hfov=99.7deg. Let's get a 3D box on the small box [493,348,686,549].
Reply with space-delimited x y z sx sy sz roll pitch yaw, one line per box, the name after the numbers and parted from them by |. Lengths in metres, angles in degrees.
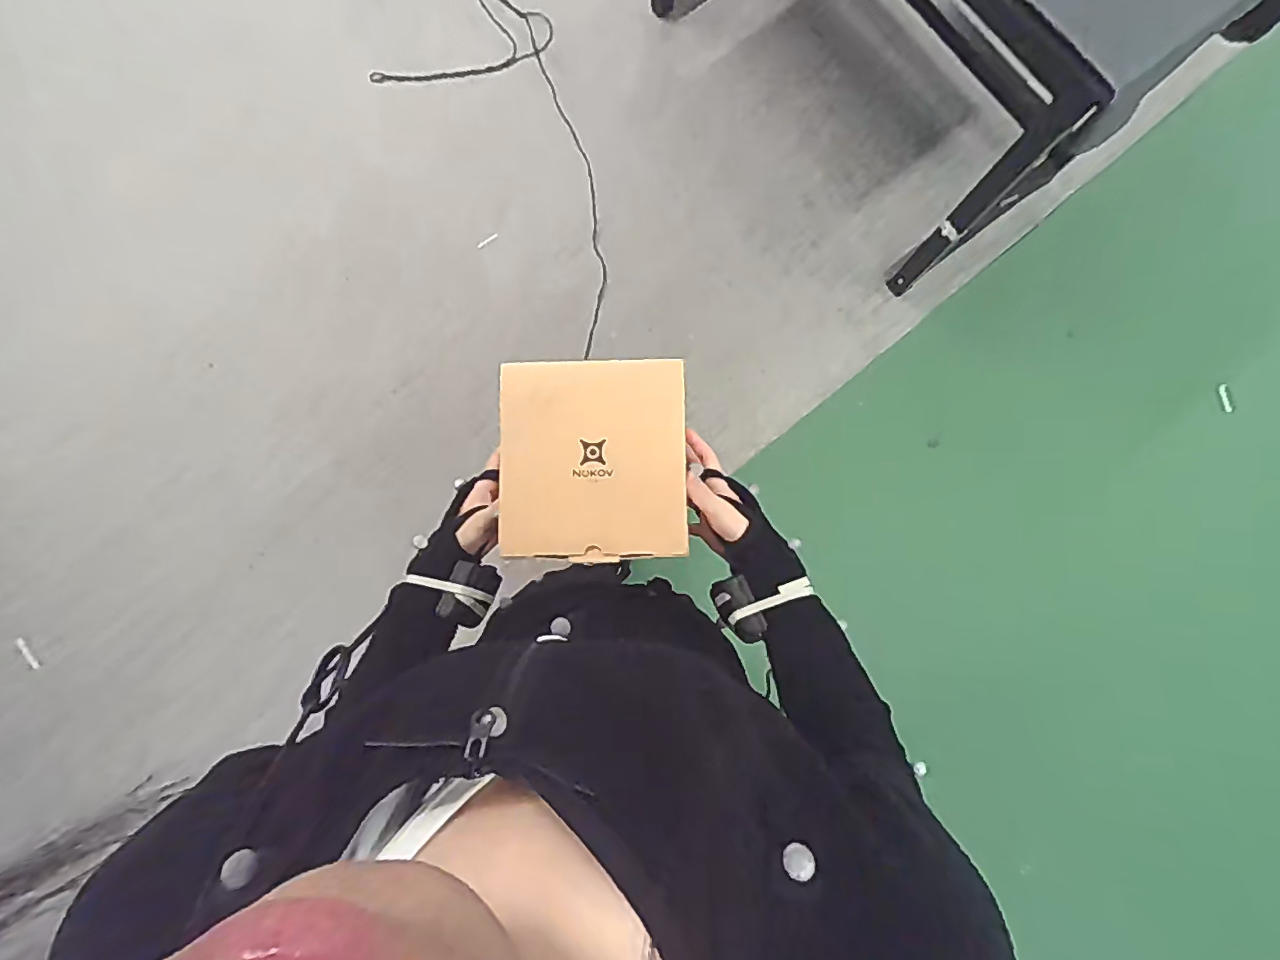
-0.043 -0.021 0.544 0.168 0.176 0.179 -1 86 1 | small box
